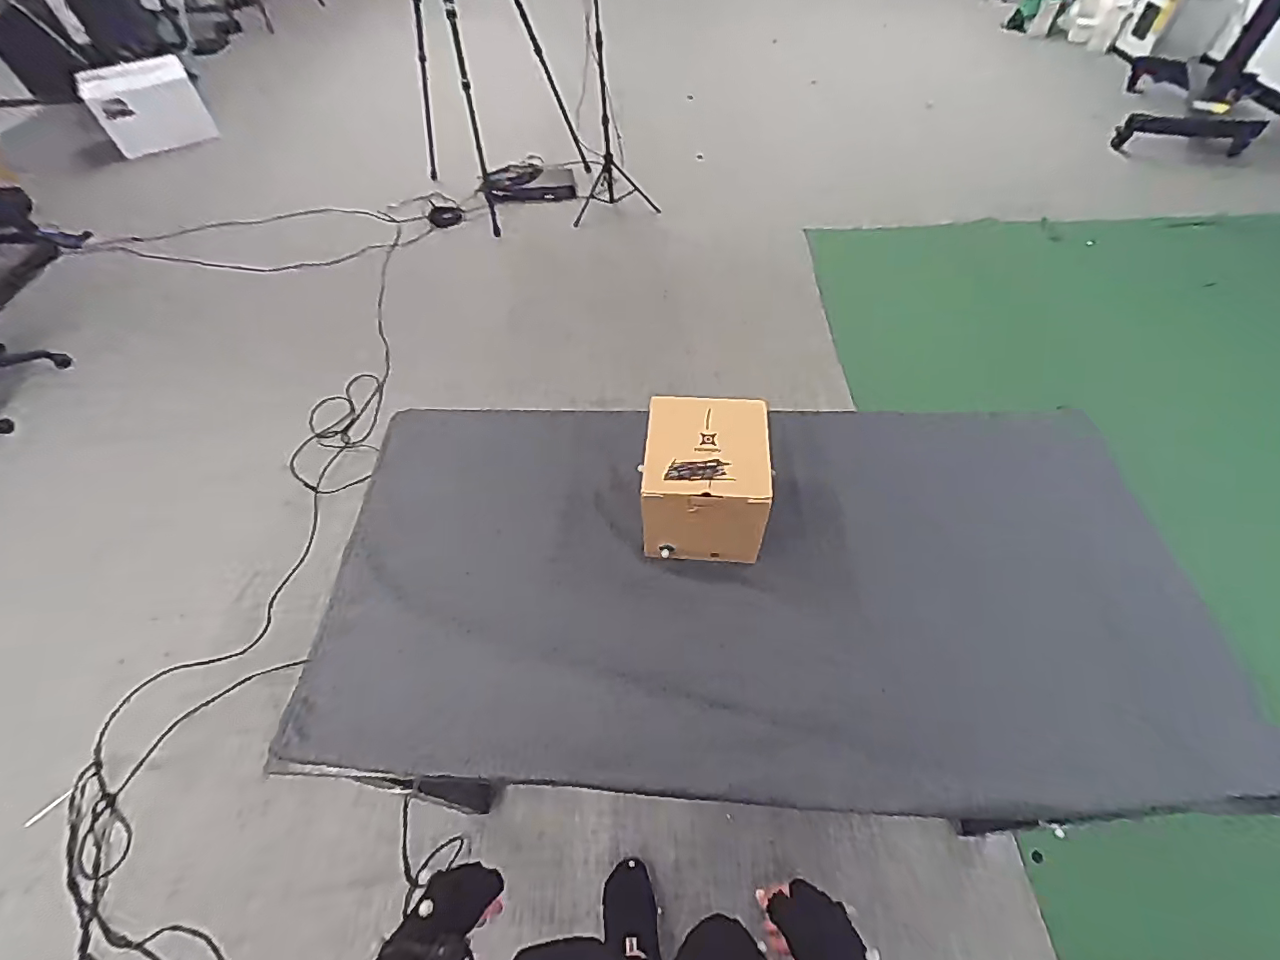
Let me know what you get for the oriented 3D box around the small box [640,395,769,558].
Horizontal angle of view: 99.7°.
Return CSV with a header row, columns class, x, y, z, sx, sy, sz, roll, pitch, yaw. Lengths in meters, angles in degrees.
class,x,y,z,sx,sy,sz,roll,pitch,yaw
small box,0.092,-0.001,0.788,0.168,0.176,0.179,3,54,4
